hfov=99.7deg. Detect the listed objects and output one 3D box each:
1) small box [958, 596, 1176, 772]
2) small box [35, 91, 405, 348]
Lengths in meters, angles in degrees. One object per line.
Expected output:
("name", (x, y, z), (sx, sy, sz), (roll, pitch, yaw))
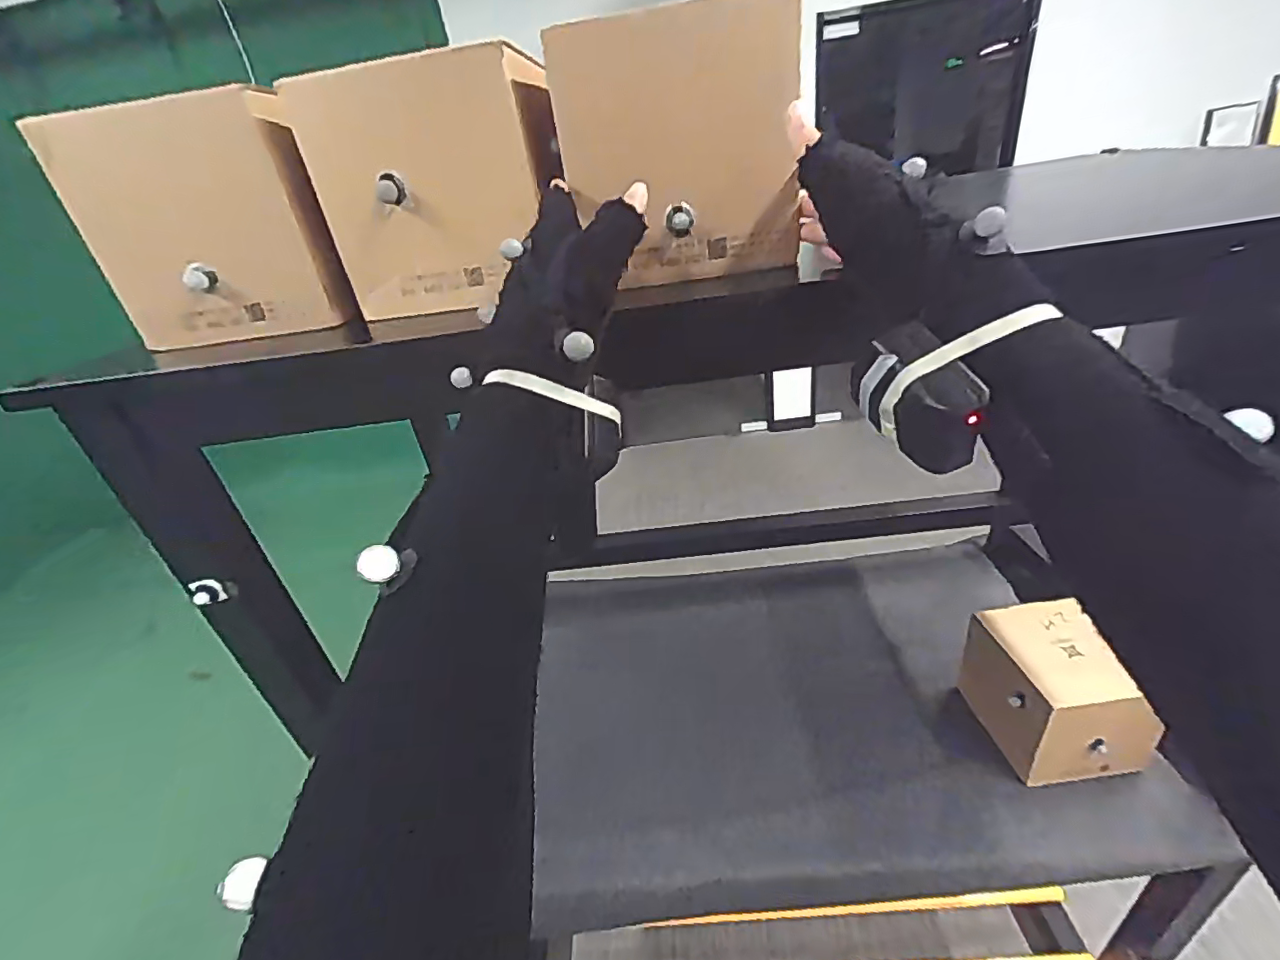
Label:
("small box", (0.600, 0.299, 0.789), (0.168, 0.176, 0.179), (-8, 29, 1))
("small box", (-0.336, -0.228, 0.485), (0.168, 0.176, 0.179), (-7, 31, 3))
